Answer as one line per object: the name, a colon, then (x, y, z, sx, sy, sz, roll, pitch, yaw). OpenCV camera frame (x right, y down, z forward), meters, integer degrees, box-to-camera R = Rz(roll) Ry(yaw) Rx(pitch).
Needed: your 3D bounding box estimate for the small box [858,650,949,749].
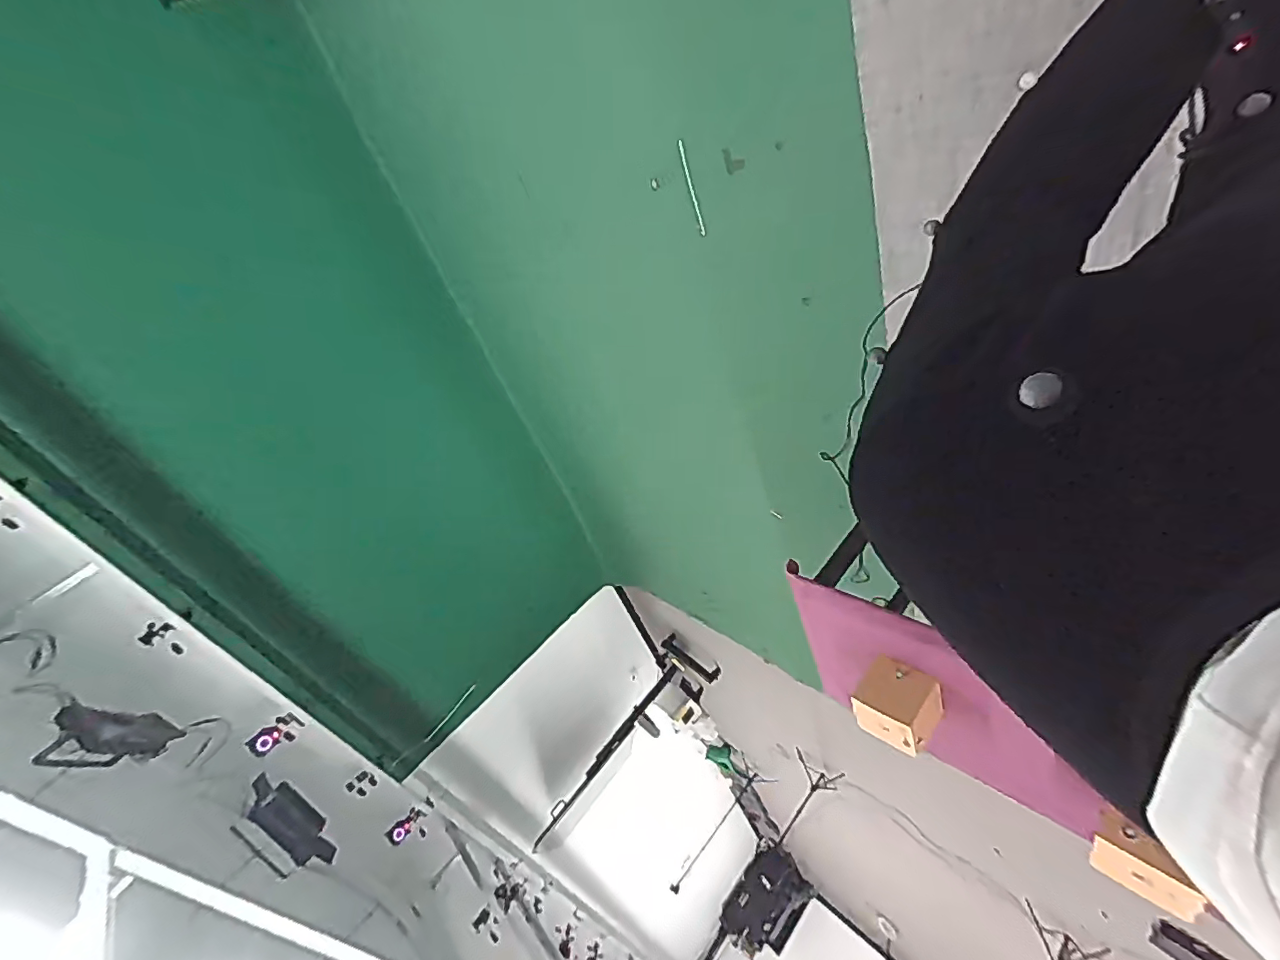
small box: (0.764, 0.625, 1.565, 0.179, 0.176, 0.168, 18, 143, 48)

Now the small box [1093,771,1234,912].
small box: (1.129, 0.770, 1.174, 0.179, 0.176, 0.168, 20, 144, 47)
